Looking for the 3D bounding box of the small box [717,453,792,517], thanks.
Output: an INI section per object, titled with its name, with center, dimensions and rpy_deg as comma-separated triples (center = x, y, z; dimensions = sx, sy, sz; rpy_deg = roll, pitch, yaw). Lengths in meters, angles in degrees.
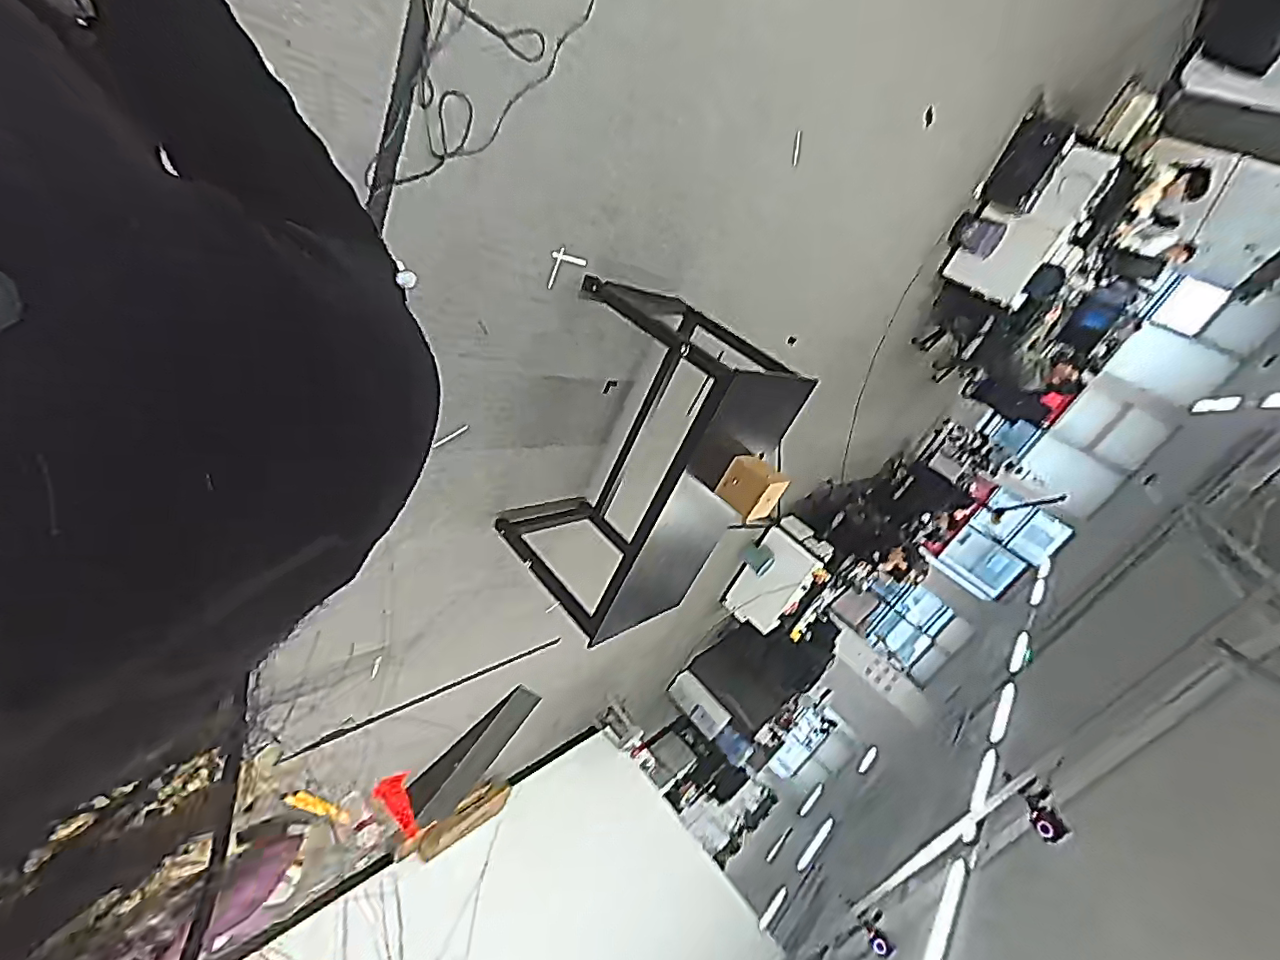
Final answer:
[small box]
center = 0.416, 0.014, 1.981
dimensions = 0.179, 0.176, 0.168
rpy_deg = -7, 131, -50
